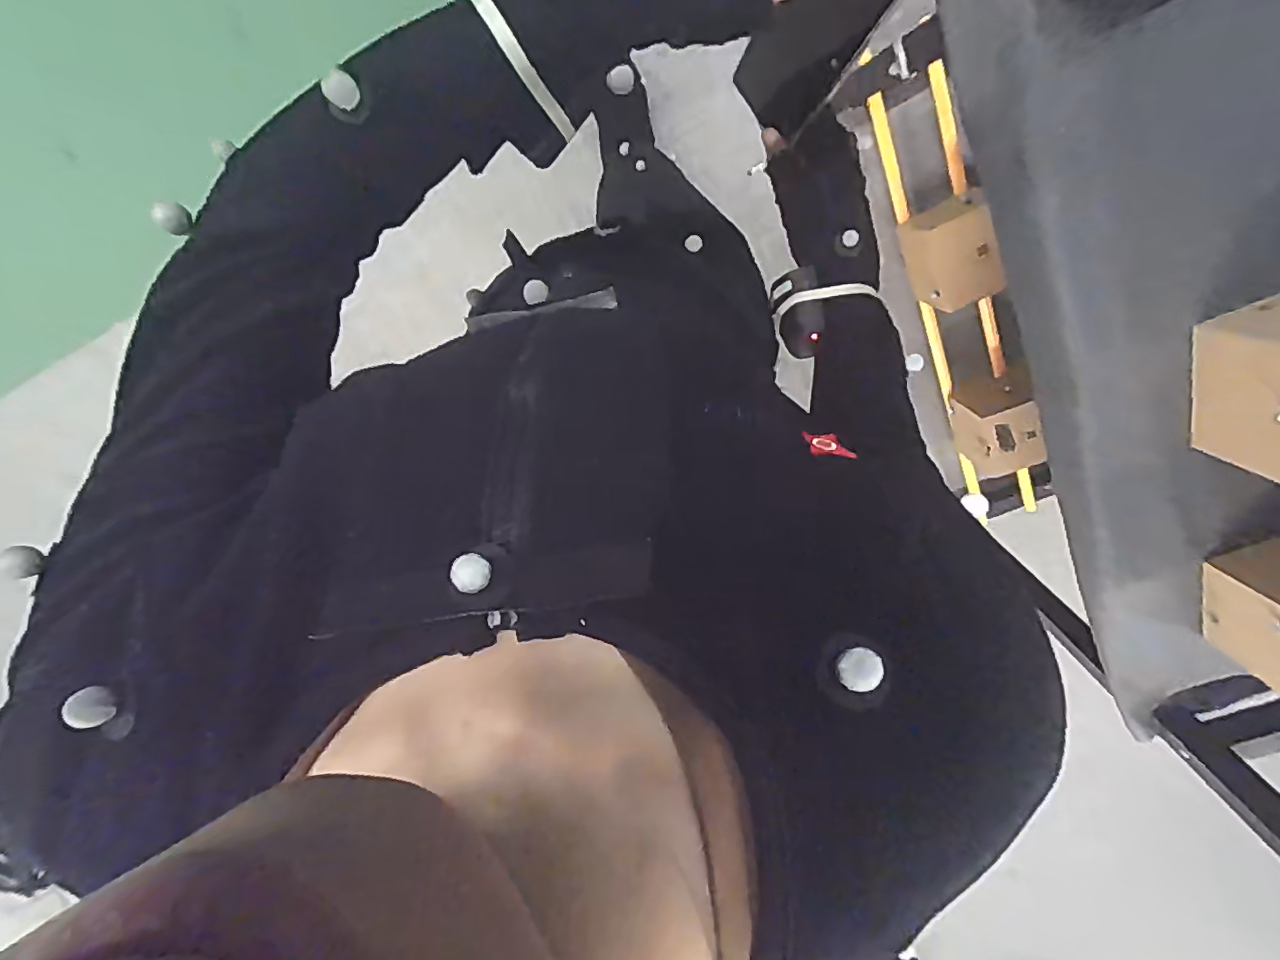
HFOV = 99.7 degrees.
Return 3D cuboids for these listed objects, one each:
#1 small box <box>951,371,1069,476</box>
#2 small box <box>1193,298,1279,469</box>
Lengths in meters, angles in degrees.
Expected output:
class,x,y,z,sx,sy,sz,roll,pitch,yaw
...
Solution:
class,x,y,z,sx,sy,sz,roll,pitch,yaw
small box,0.865,-0.138,1.282,0.179,0.176,0.168,-21,114,10
small box,0.777,-0.113,0.601,0.168,0.176,0.179,-21,114,10
